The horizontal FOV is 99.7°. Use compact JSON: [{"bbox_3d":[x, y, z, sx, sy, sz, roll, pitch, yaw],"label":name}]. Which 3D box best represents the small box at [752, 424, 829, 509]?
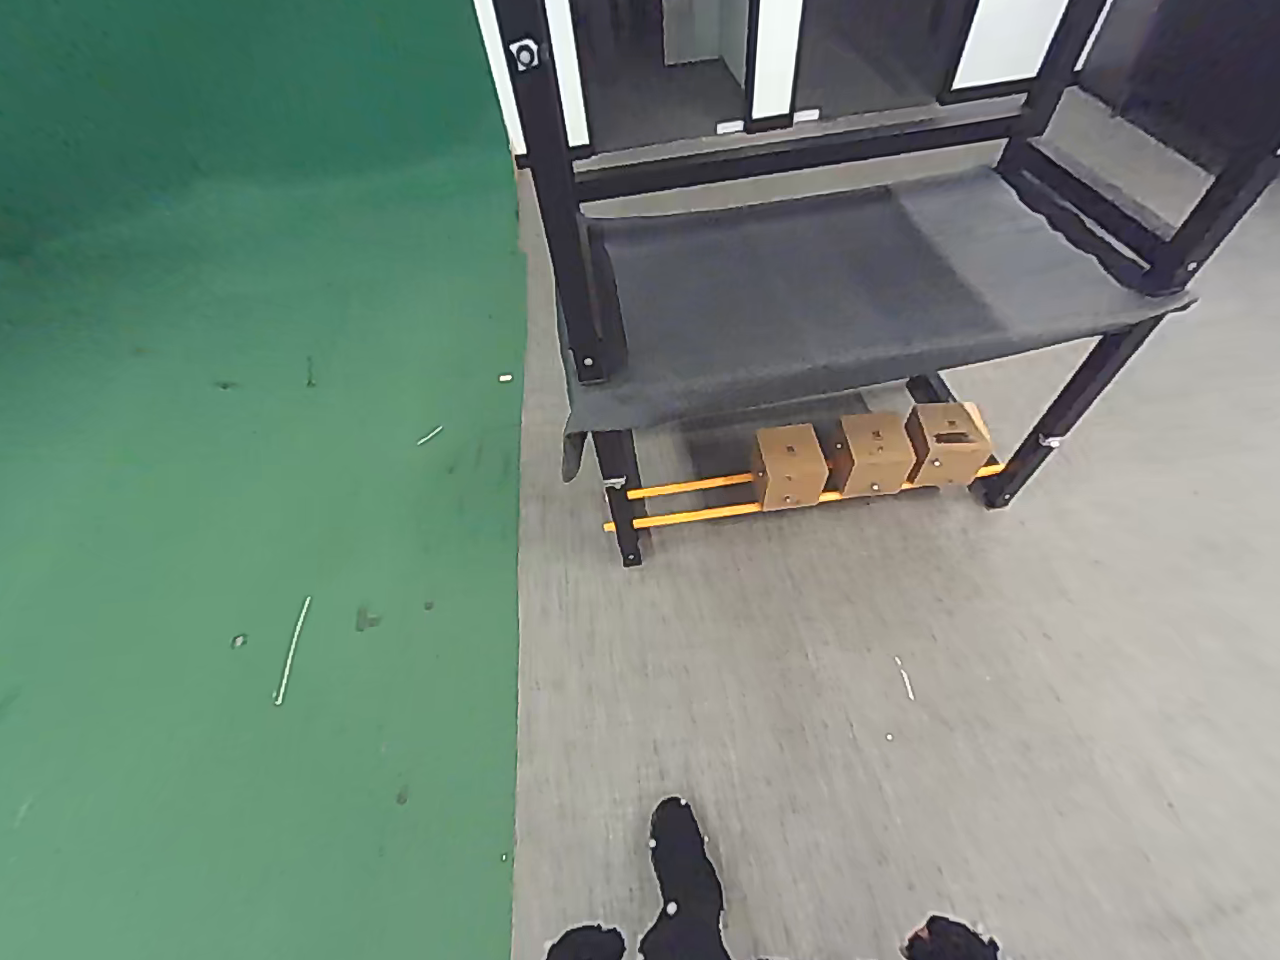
[{"bbox_3d":[0.425,-0.037,1.558,0.168,0.176,0.179,-7,56,1],"label":"small box"}]
